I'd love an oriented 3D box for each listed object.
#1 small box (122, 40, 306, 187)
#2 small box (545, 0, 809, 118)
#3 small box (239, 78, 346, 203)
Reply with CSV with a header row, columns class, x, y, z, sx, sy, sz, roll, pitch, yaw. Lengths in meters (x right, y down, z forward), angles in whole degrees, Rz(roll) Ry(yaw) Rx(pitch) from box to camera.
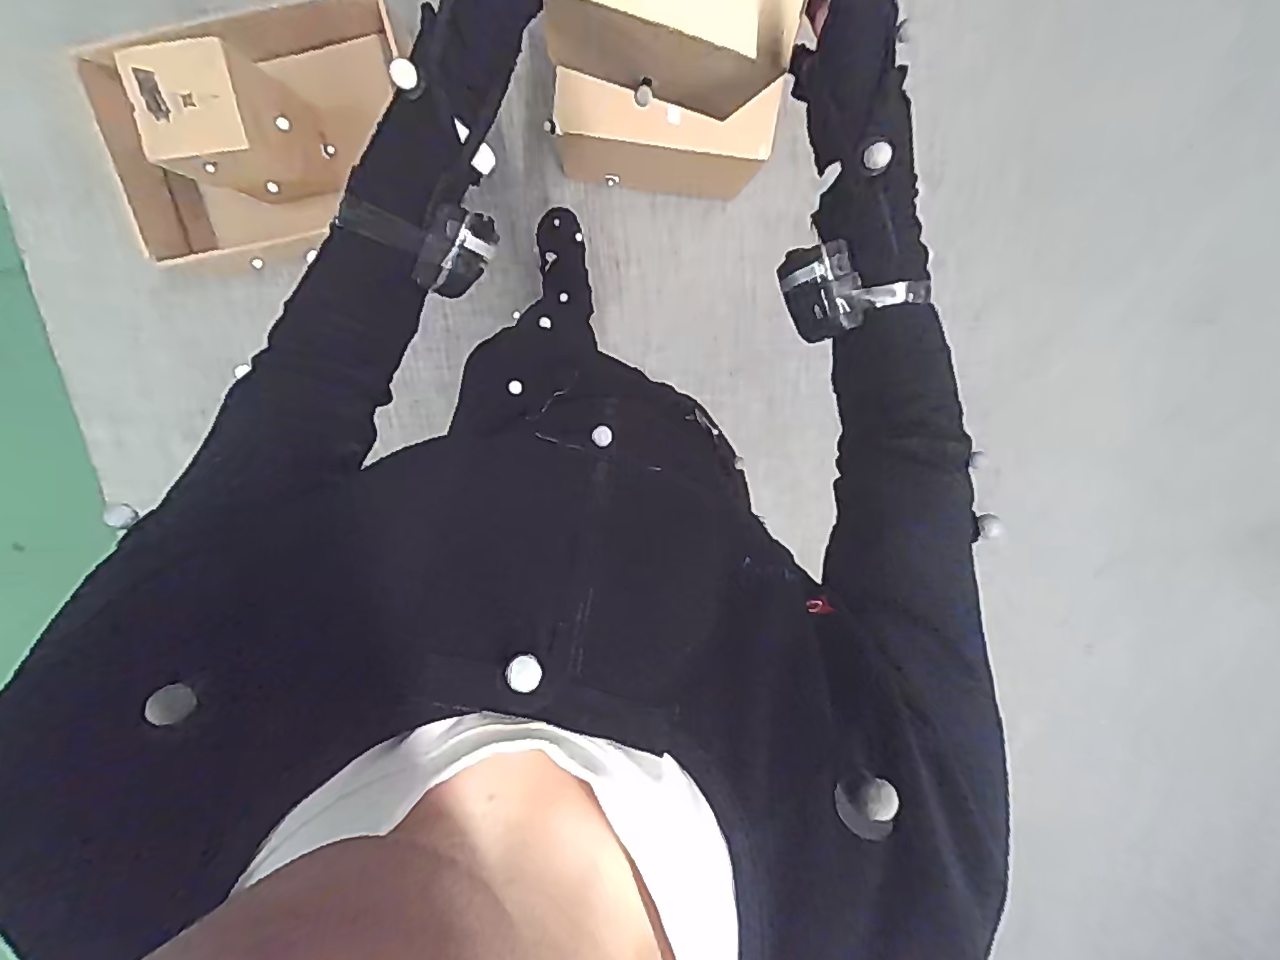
class,x,y,z,sx,sy,sz,roll,pitch,yaw
small box,-0.751,-0.646,0.975,0.179,0.176,0.168,-8,105,-1
small box,0.028,-0.405,0.414,0.179,0.176,0.168,10,111,-12
small box,-0.760,-0.698,1.131,0.179,0.176,0.168,-11,105,-1
